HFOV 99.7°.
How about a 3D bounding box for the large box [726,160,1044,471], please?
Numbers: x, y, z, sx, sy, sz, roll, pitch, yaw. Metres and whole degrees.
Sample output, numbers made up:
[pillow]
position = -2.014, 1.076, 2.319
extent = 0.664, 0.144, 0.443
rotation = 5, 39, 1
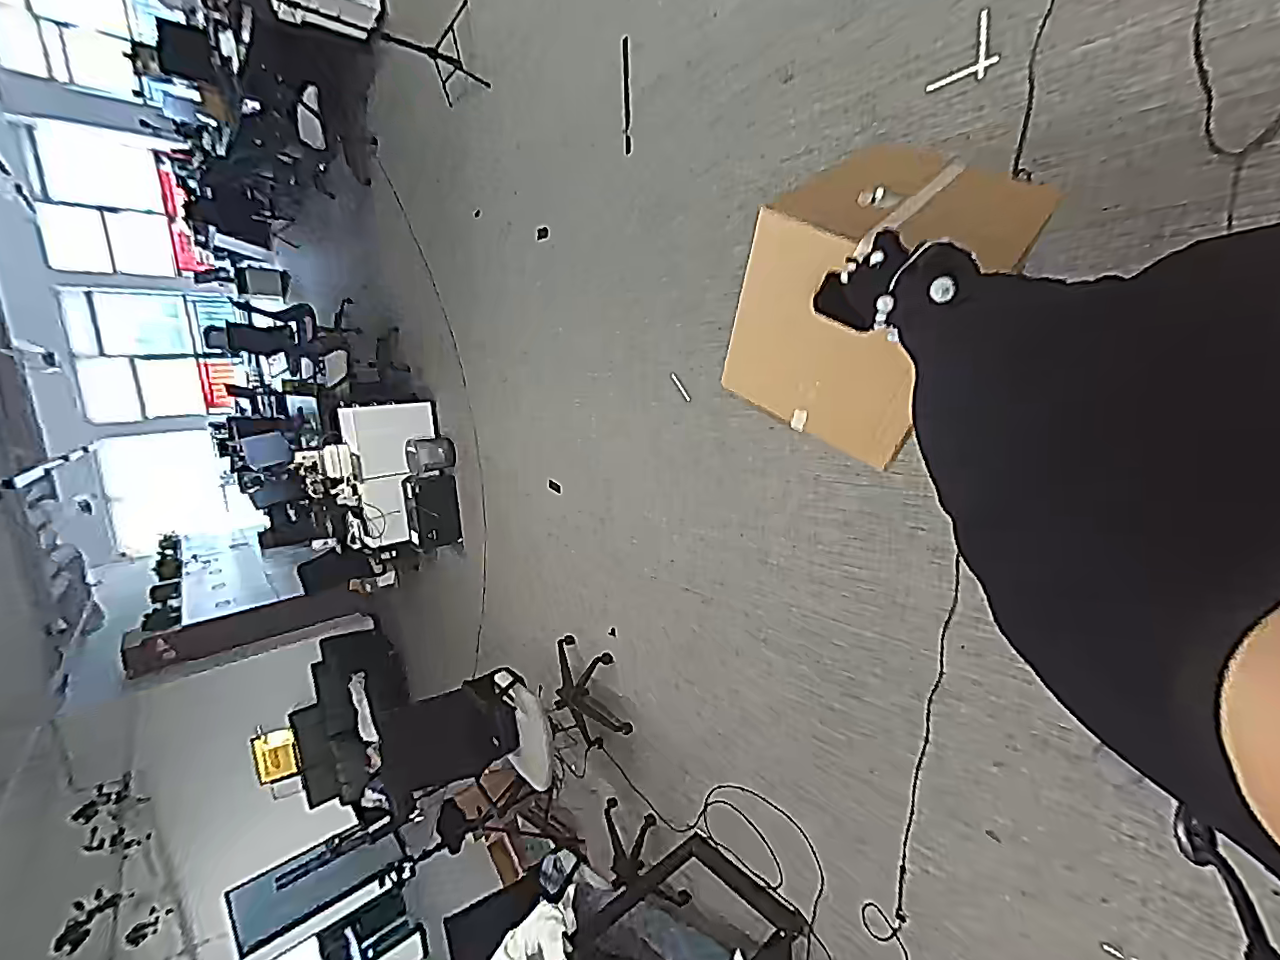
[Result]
[large box]
position = 0.398, -0.293, 0.920
extent = 0.320, 0.408, 0.320
rotation = 31, 144, 24
